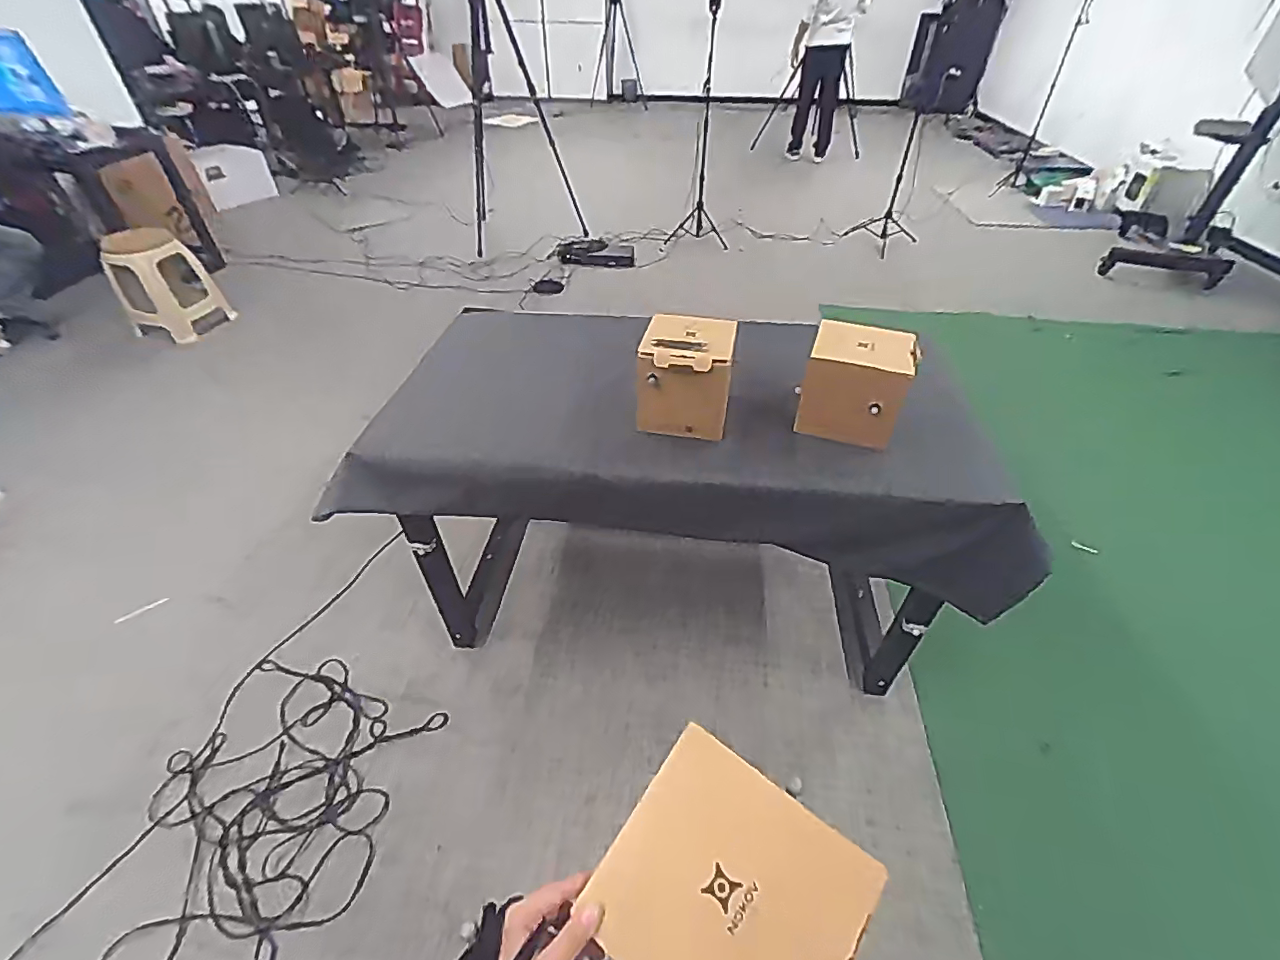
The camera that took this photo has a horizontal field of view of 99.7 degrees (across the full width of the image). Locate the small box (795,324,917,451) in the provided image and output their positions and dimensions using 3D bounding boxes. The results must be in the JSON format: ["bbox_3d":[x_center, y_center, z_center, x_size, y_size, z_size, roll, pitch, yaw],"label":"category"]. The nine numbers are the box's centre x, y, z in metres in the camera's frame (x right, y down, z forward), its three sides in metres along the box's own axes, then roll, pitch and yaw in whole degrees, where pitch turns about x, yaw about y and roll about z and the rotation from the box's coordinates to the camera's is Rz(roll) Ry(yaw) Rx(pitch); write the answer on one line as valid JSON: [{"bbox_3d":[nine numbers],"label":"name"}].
[{"bbox_3d":[0.411,-0.176,1.039,0.179,0.176,0.168,14,43,16],"label":"small box"}]
